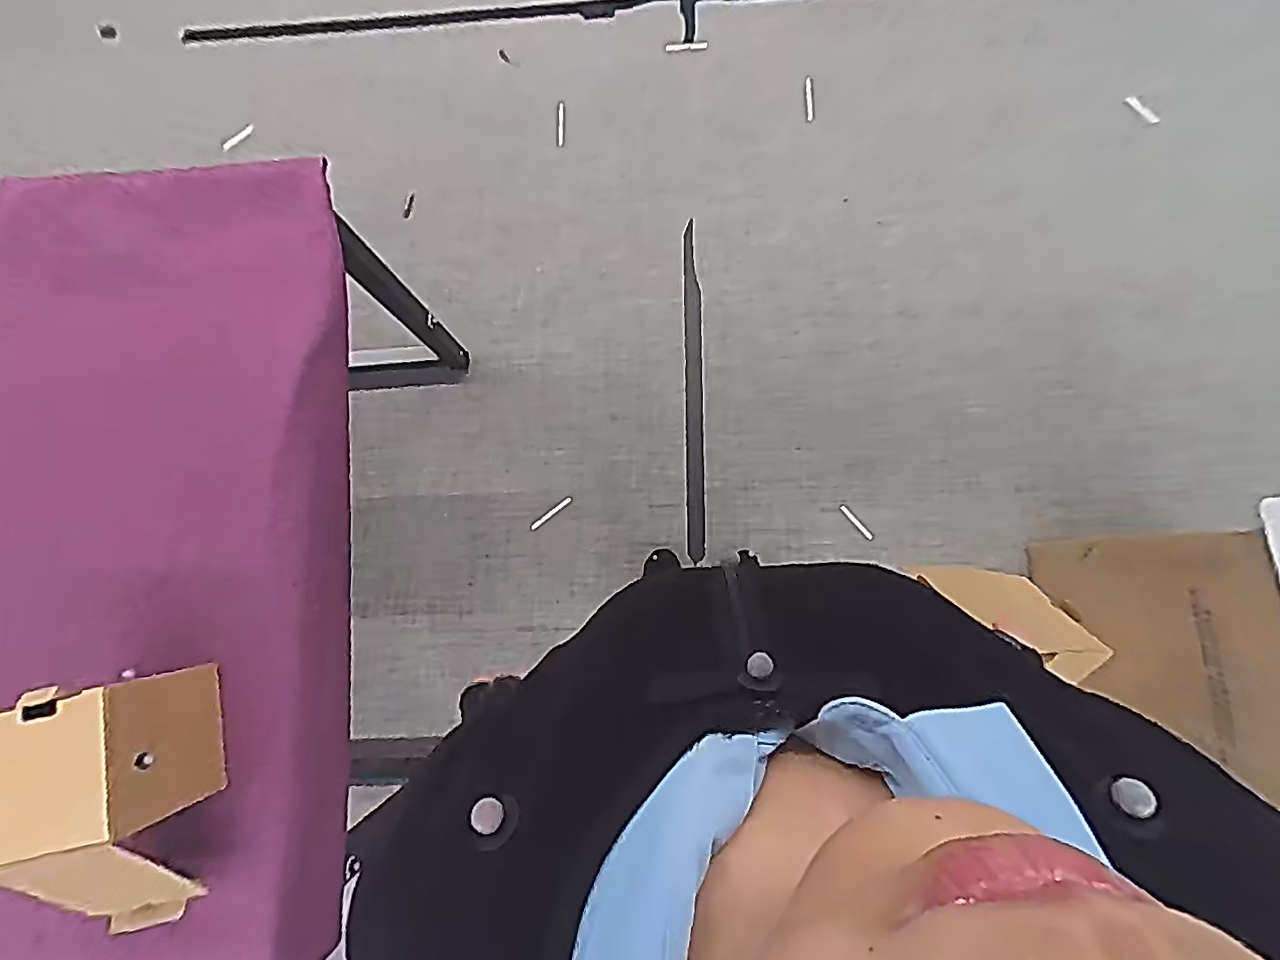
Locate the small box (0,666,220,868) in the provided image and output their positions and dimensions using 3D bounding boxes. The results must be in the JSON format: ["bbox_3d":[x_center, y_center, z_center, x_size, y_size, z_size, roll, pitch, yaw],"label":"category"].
[{"bbox_3d":[-0.688,0.358,0.701,0.168,0.176,0.179,-12,80,0],"label":"small box"}]
